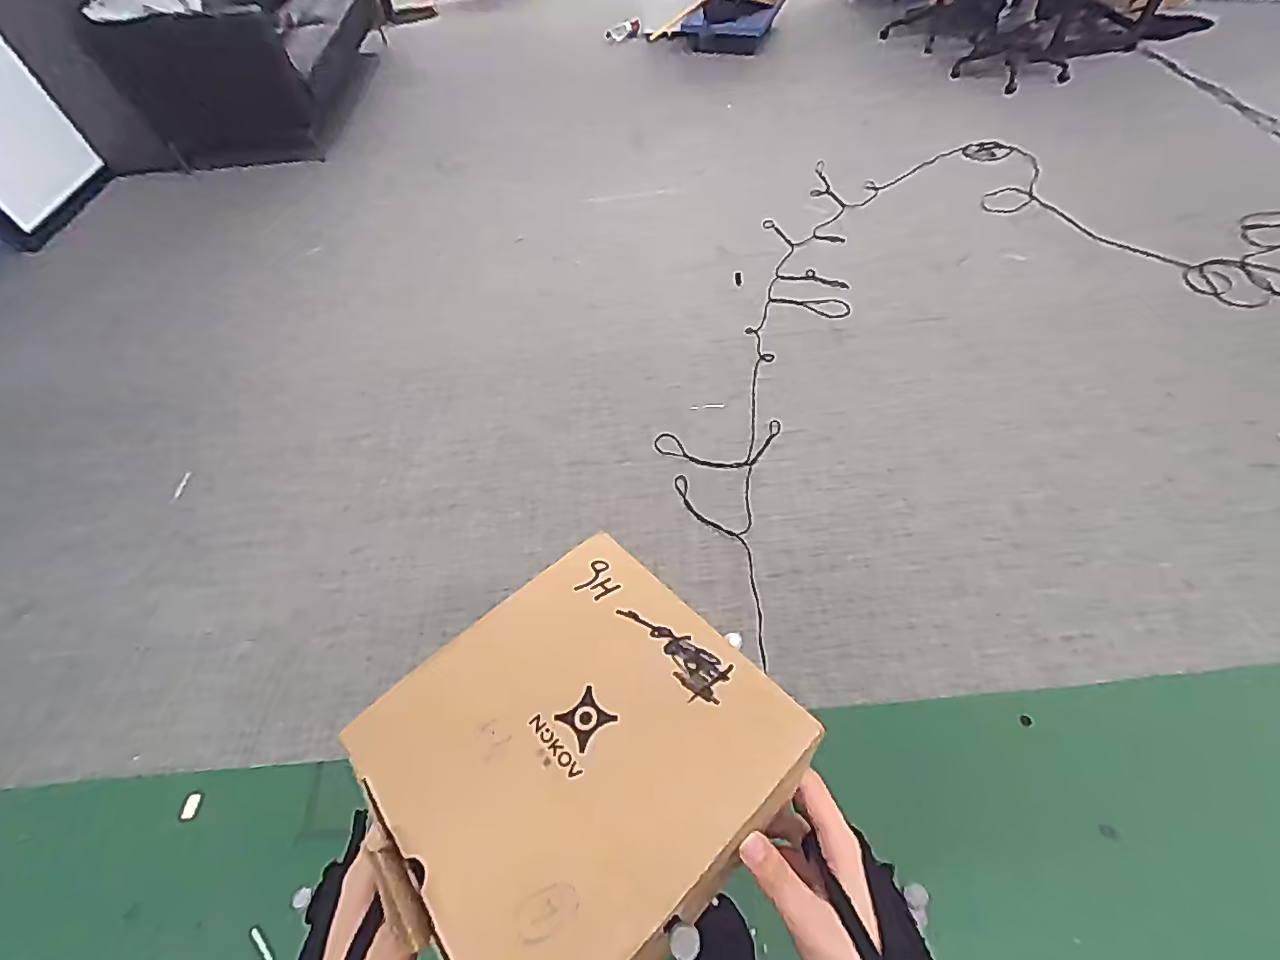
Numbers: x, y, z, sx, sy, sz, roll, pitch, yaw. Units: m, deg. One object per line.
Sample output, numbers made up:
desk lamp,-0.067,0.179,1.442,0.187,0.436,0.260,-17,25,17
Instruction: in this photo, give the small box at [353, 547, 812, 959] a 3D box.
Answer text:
small box,-0.023,0.182,0.324,0.179,0.176,0.168,-37,54,-23
